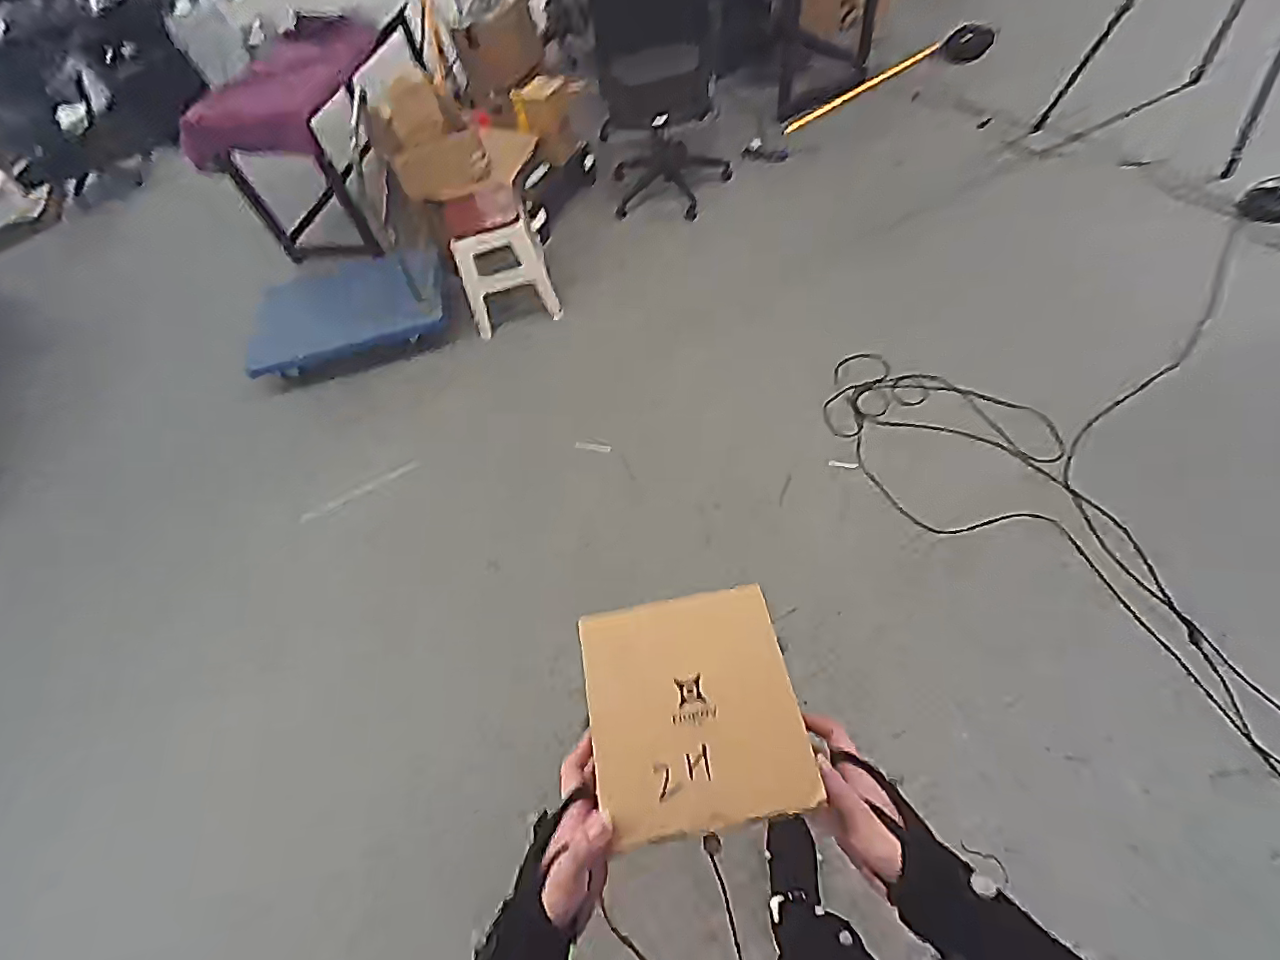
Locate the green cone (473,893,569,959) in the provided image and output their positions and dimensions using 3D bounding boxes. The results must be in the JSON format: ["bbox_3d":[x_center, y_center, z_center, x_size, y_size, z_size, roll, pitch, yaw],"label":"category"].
[{"bbox_3d":[-0.291,1.012,1.099,0.202,0.368,0.200,-25,58,-8],"label":"green cone"}]

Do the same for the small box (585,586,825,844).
[{"bbox_3d":[0.048,0.224,0.506,0.168,0.176,0.179,-11,56,-2],"label":"small box"}]
